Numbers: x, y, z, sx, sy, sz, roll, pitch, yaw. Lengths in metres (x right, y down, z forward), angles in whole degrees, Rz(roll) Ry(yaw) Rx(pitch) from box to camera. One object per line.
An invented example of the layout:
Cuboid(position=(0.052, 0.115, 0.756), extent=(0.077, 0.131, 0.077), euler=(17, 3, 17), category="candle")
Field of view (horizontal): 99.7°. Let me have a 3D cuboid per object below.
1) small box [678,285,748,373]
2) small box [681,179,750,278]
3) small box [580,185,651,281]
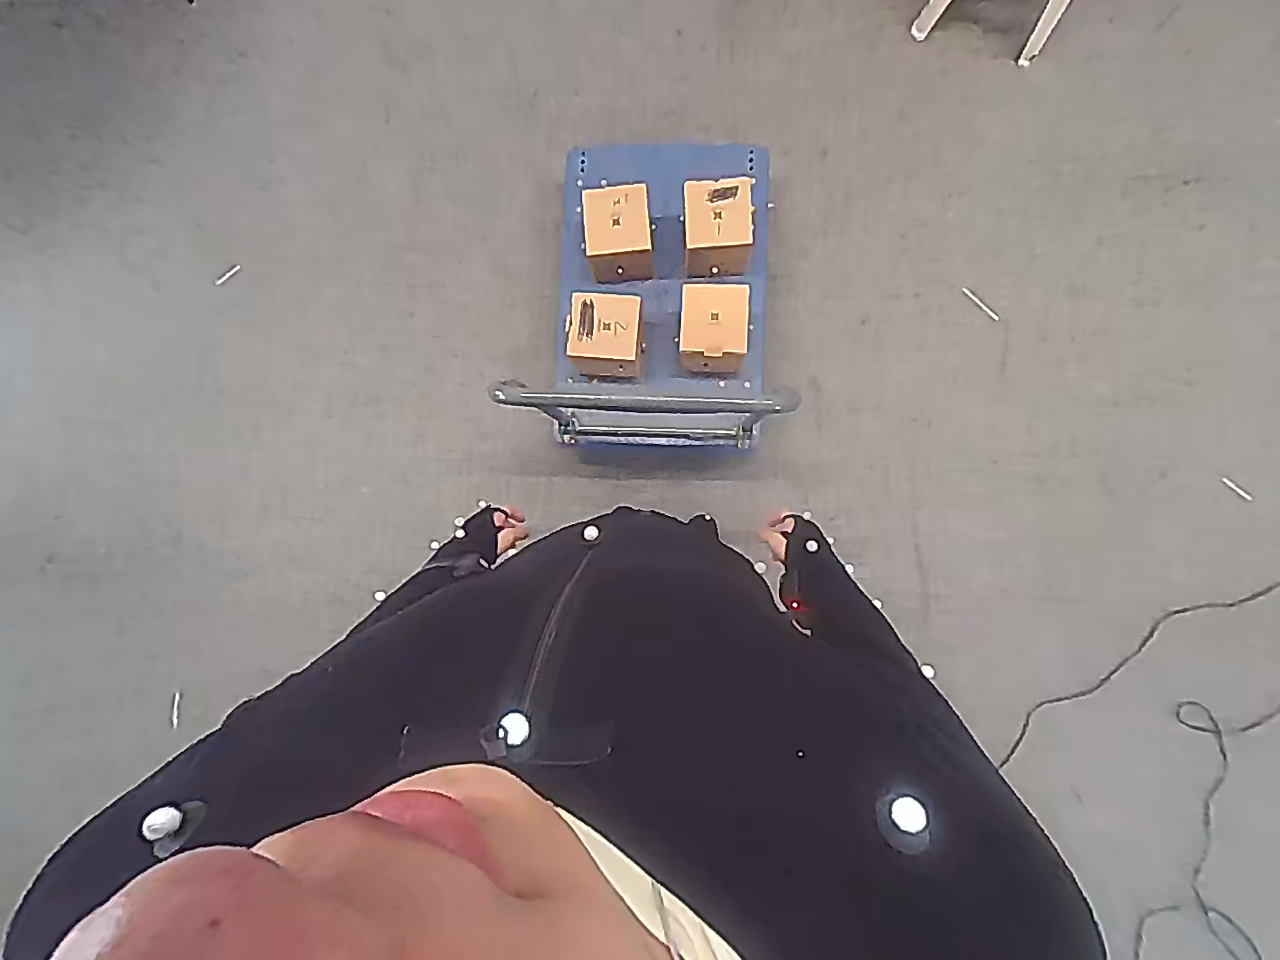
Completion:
Cuboid(position=(0.185, -0.388, 1.406), extent=(0.168, 0.176, 0.179), euler=(2, 86, 4), category="small box")
Cuboid(position=(0.194, -0.656, 1.423), extent=(0.168, 0.176, 0.179), euler=(-2, 87, 4), category="small box")
Cuboid(position=(-0.061, -0.646, 1.439), extent=(0.168, 0.176, 0.179), euler=(-5, 86, 3), category="small box")
